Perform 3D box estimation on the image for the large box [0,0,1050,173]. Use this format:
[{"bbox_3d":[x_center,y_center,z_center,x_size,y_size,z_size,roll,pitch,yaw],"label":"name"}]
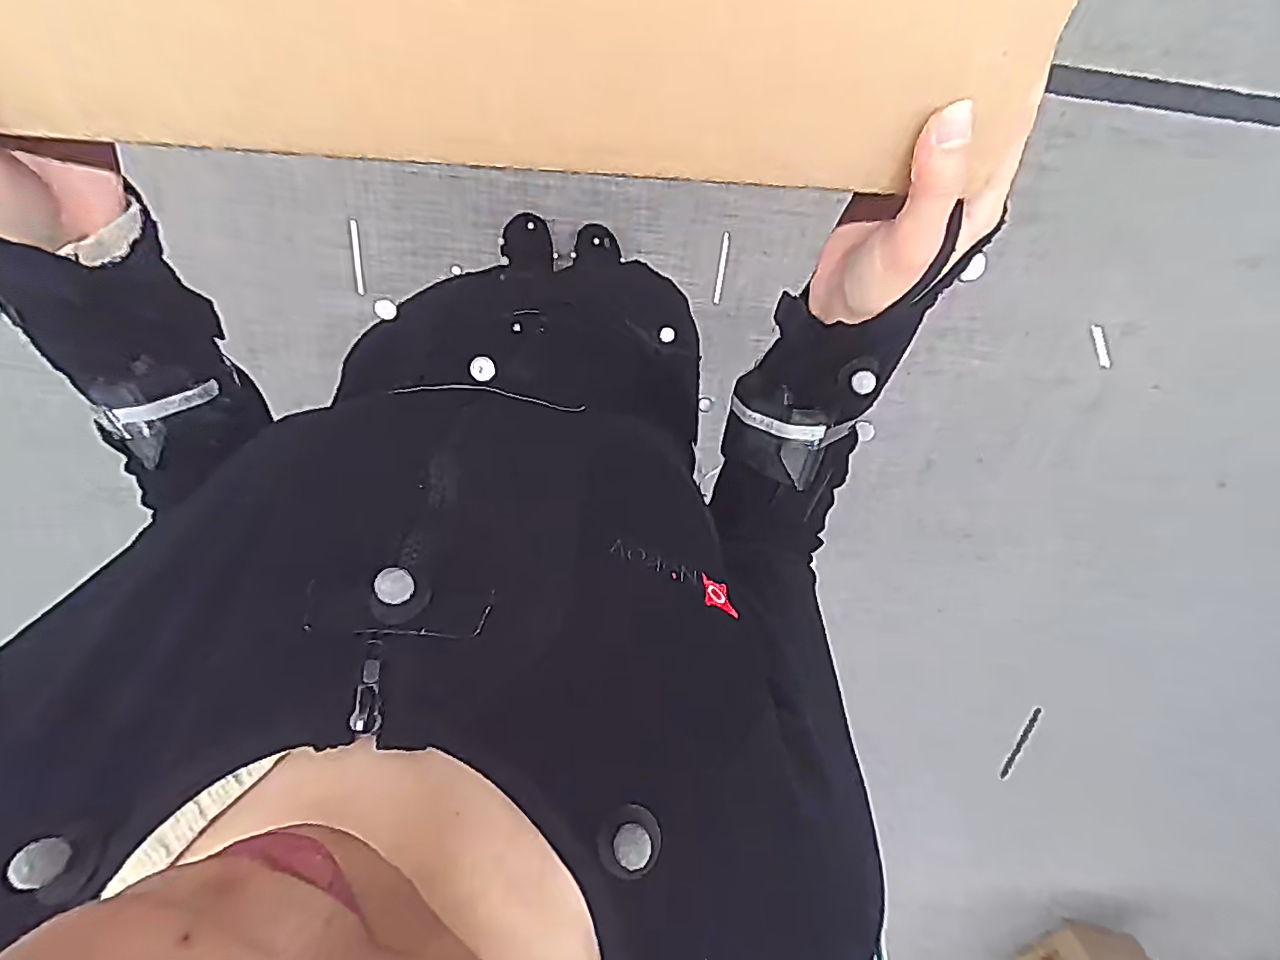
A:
[{"bbox_3d":[-0.053,-0.346,0.210,0.408,0.320,0.320,1,138,-4],"label":"large box"}]
